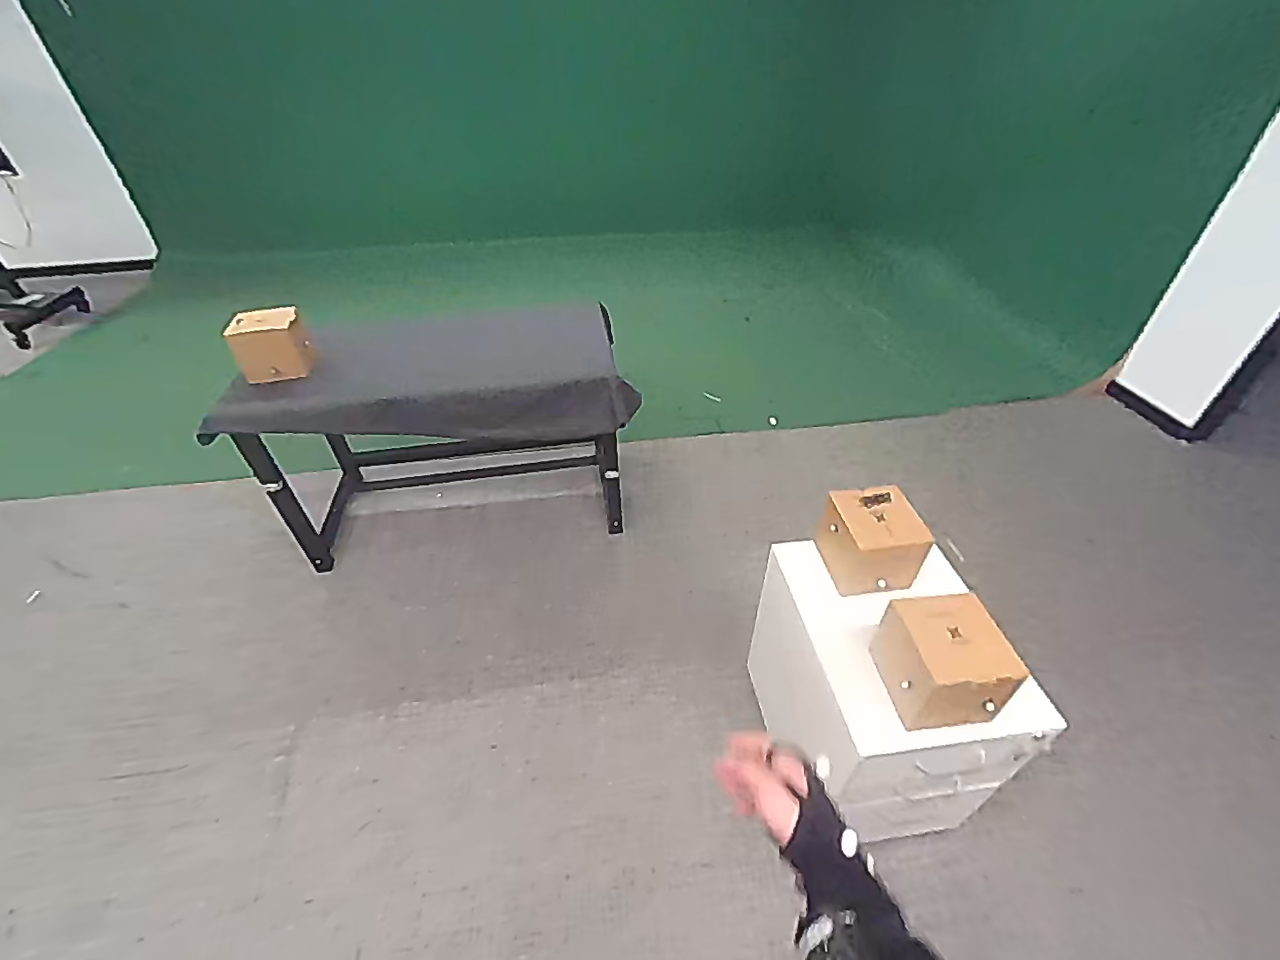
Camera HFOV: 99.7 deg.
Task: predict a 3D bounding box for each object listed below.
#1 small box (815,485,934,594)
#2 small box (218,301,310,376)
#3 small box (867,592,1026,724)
[{"bbox_3d":[0.515,0.134,1.221,0.168,0.176,0.179,-6,44,-6],"label":"small box"},{"bbox_3d":[-1.163,-0.442,1.691,0.179,0.176,0.168,-10,41,-13],"label":"small box"},{"bbox_3d":[0.551,0.333,1.000,0.168,0.176,0.179,-3,40,-5],"label":"small box"}]
